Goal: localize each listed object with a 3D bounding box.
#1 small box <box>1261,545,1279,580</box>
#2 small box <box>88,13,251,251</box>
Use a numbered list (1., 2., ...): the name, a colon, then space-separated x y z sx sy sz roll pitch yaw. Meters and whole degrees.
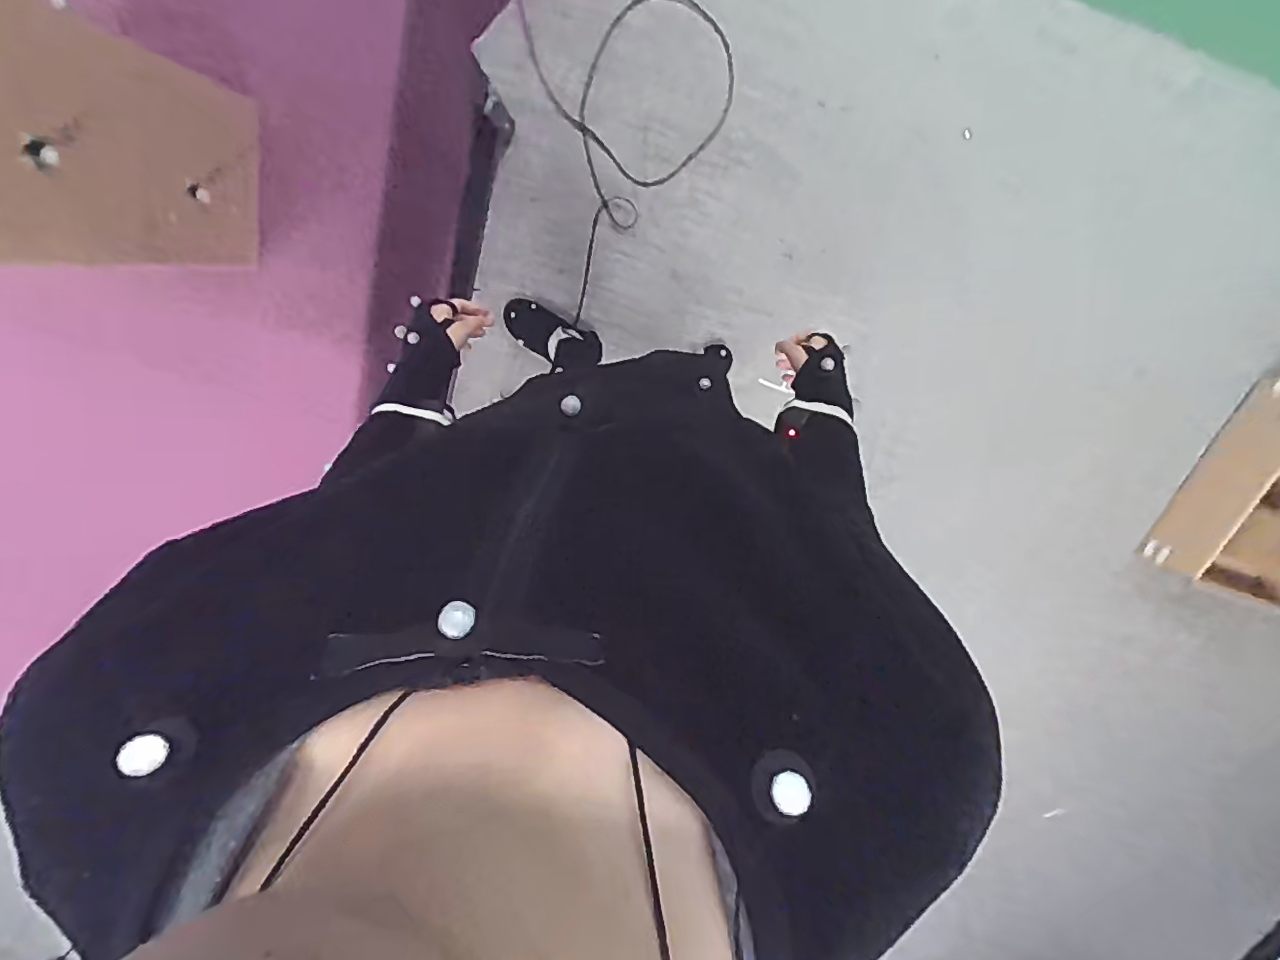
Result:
1. small box: 1.849 0.232 1.437 0.179 0.176 0.168 17 109 -9
2. small box: -0.512 -0.333 0.524 0.168 0.176 0.179 12 110 -8
